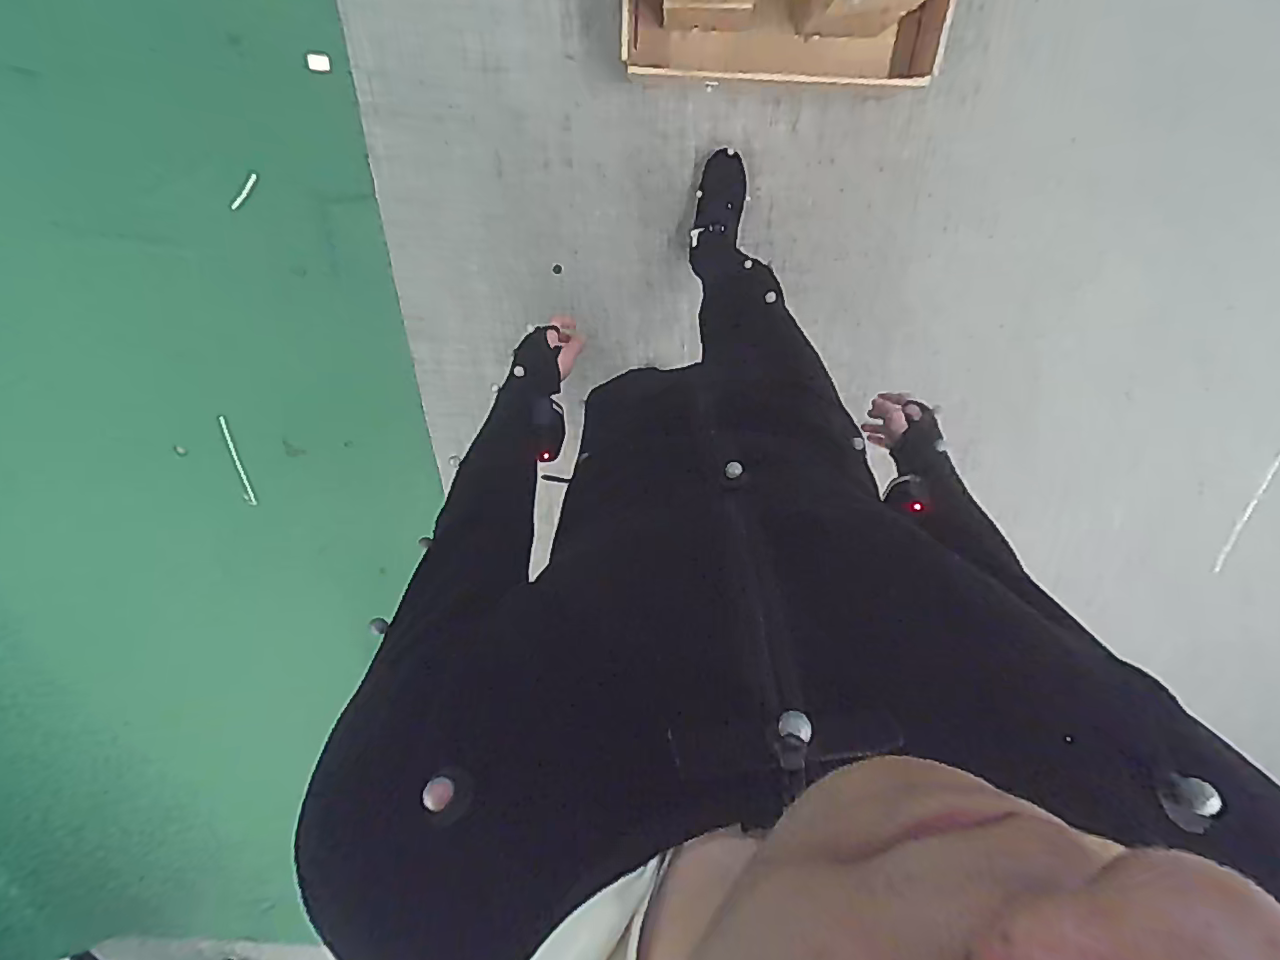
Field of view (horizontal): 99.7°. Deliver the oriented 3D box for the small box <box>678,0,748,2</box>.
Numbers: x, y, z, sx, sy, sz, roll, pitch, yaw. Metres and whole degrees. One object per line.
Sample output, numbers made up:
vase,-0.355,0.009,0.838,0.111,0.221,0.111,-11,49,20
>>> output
small box,0.130,-0.913,0.869,0.168,0.176,0.179,2,116,3
